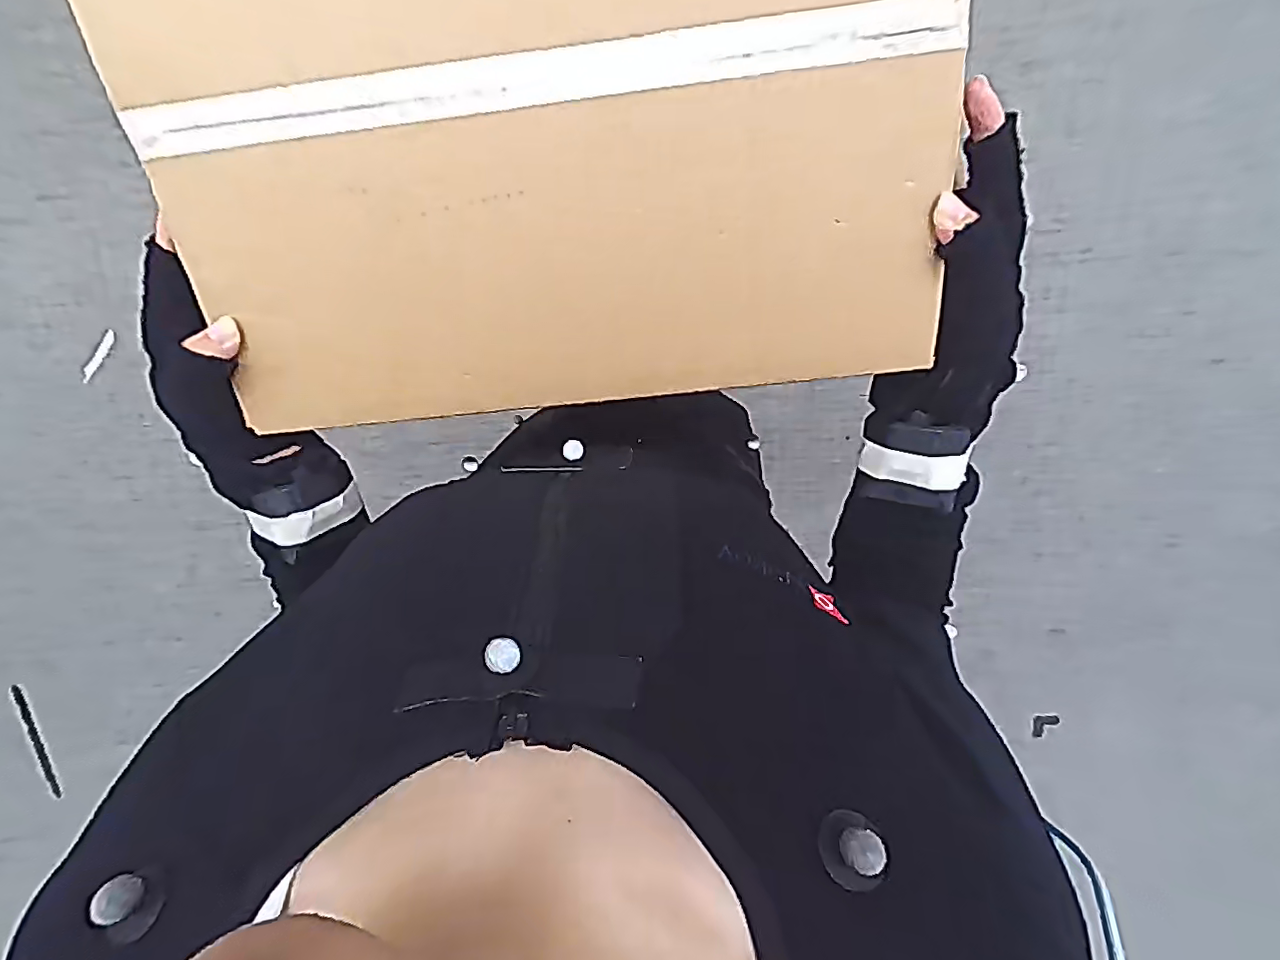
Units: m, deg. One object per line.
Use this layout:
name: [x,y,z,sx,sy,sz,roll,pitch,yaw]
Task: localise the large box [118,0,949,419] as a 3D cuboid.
large box: [-0.048,-0.255,0.408,0.408,0.320,0.320,-5,114,3]
